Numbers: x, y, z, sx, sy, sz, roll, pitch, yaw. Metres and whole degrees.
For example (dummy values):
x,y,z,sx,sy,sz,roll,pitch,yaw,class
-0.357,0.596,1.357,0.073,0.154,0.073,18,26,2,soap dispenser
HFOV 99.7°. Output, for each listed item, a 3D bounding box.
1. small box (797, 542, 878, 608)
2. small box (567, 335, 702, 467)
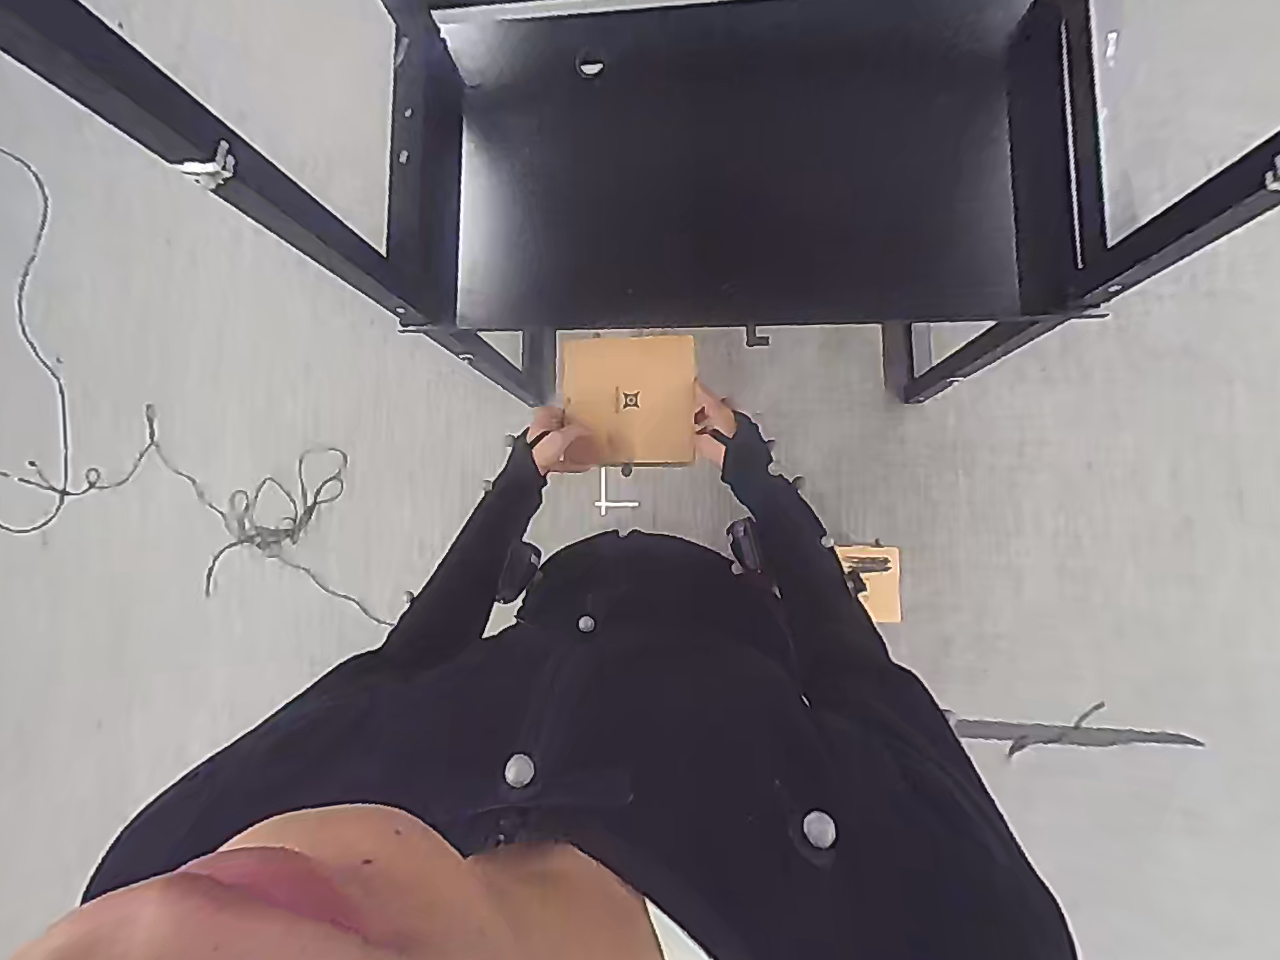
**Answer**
x,y,z,sx,sy,sz,roll,pitch,yaw,class
0.537,0.256,1.490,0.179,0.176,0.168,-2,85,7,small box
0.001,-0.105,0.778,0.179,0.176,0.168,0,90,8,small box
